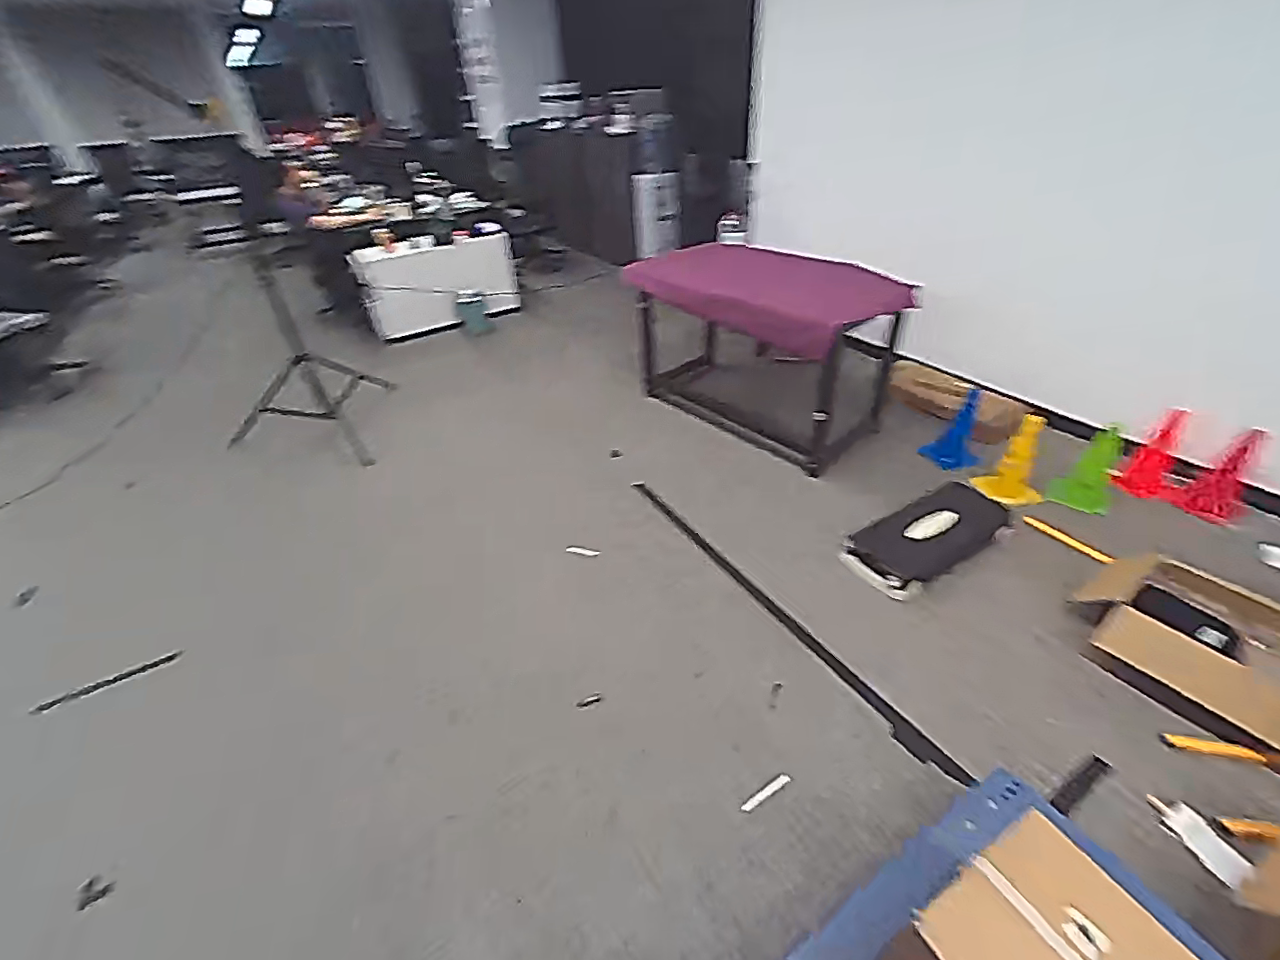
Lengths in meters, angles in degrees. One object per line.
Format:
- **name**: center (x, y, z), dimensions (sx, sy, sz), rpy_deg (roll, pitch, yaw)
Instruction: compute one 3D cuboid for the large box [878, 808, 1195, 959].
- **large box**: center (0.653, 0.838, 0.838), dimensions (0.320, 0.320, 0.408), rpy_deg (-21, 39, -22)
